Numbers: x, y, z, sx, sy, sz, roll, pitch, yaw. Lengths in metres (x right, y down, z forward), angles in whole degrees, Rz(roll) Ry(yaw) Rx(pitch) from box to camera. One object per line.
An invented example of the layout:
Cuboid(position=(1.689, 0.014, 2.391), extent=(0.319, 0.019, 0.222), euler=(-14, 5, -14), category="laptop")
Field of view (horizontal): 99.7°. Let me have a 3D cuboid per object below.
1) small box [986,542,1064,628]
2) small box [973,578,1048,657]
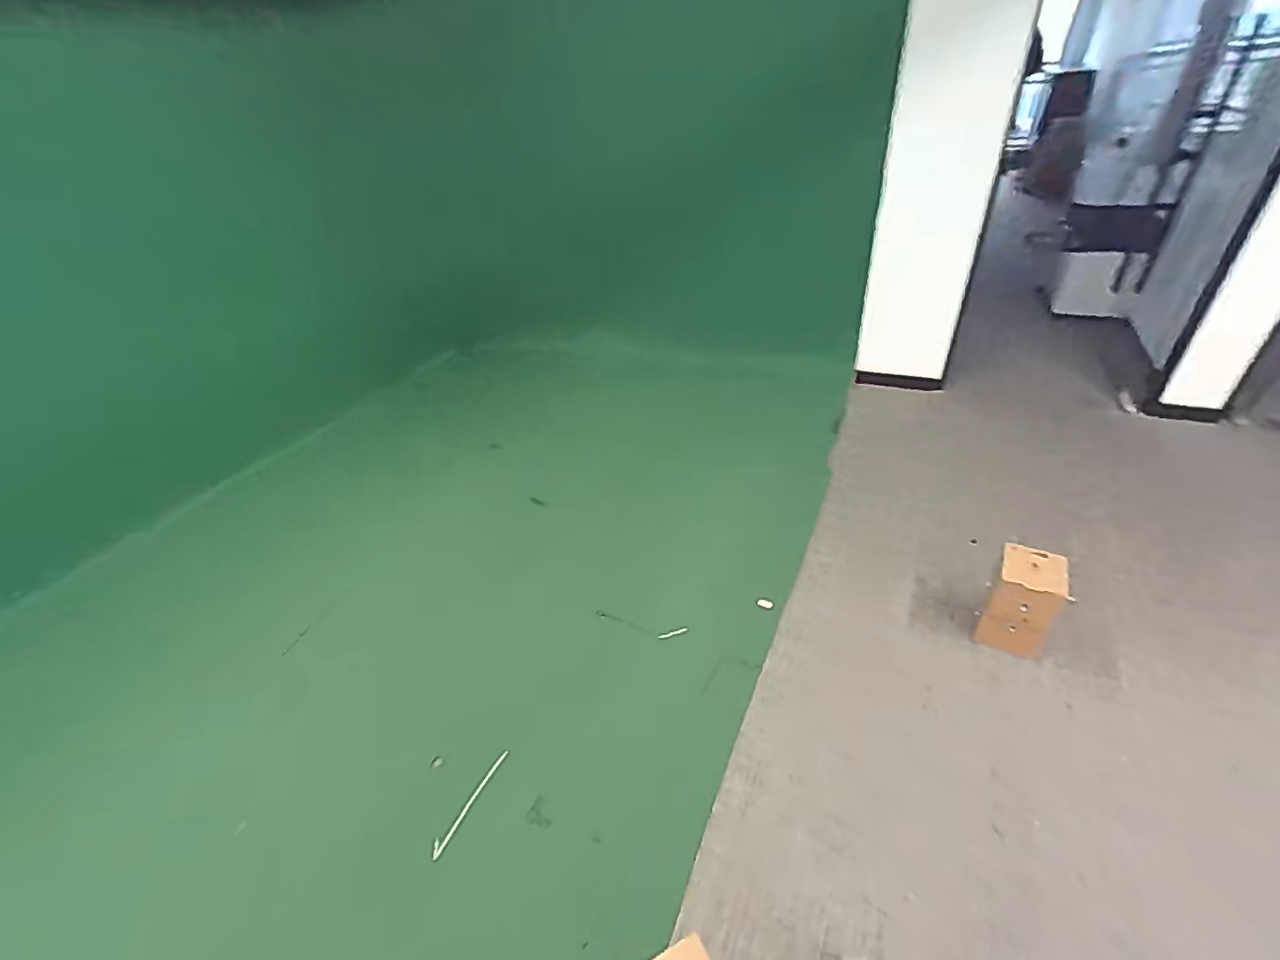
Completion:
Cuboid(position=(1.212, 0.334, 1.708), extent=(0.168, 0.176, 0.179), euler=(16, 45, 27), category="small box")
Cuboid(position=(1.236, 0.461, 1.808), extent=(0.179, 0.176, 0.168), euler=(16, 44, 28), category="small box")
